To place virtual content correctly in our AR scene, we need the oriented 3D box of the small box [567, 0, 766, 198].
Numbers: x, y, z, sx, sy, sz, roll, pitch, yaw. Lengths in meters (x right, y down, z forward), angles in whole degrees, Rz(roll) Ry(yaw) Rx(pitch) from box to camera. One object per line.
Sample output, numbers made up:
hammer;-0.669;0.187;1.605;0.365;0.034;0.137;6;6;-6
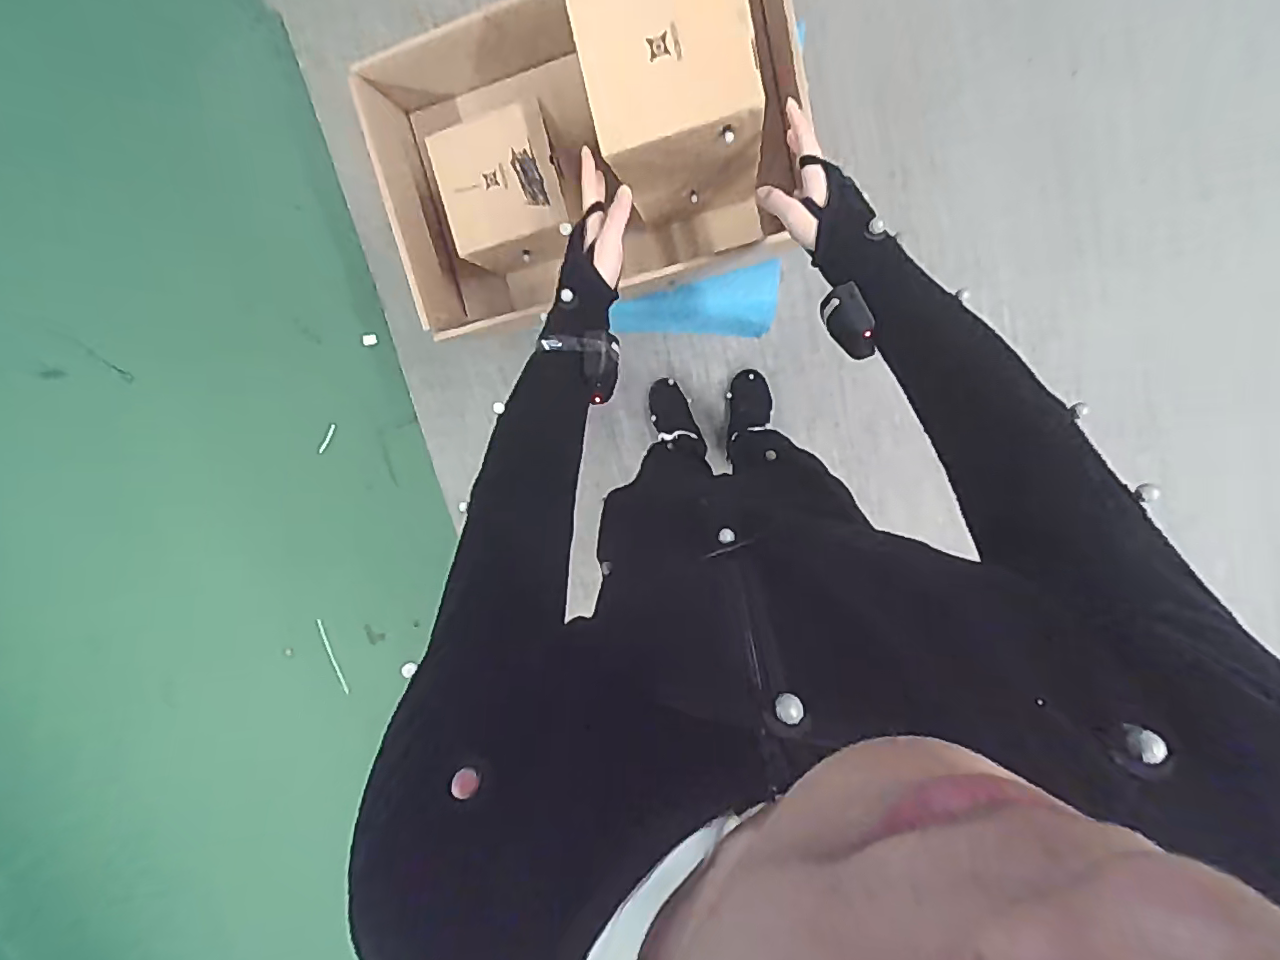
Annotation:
small box;0.039;-0.449;0.616;0.179;0.176;0.168;-12;99;12
